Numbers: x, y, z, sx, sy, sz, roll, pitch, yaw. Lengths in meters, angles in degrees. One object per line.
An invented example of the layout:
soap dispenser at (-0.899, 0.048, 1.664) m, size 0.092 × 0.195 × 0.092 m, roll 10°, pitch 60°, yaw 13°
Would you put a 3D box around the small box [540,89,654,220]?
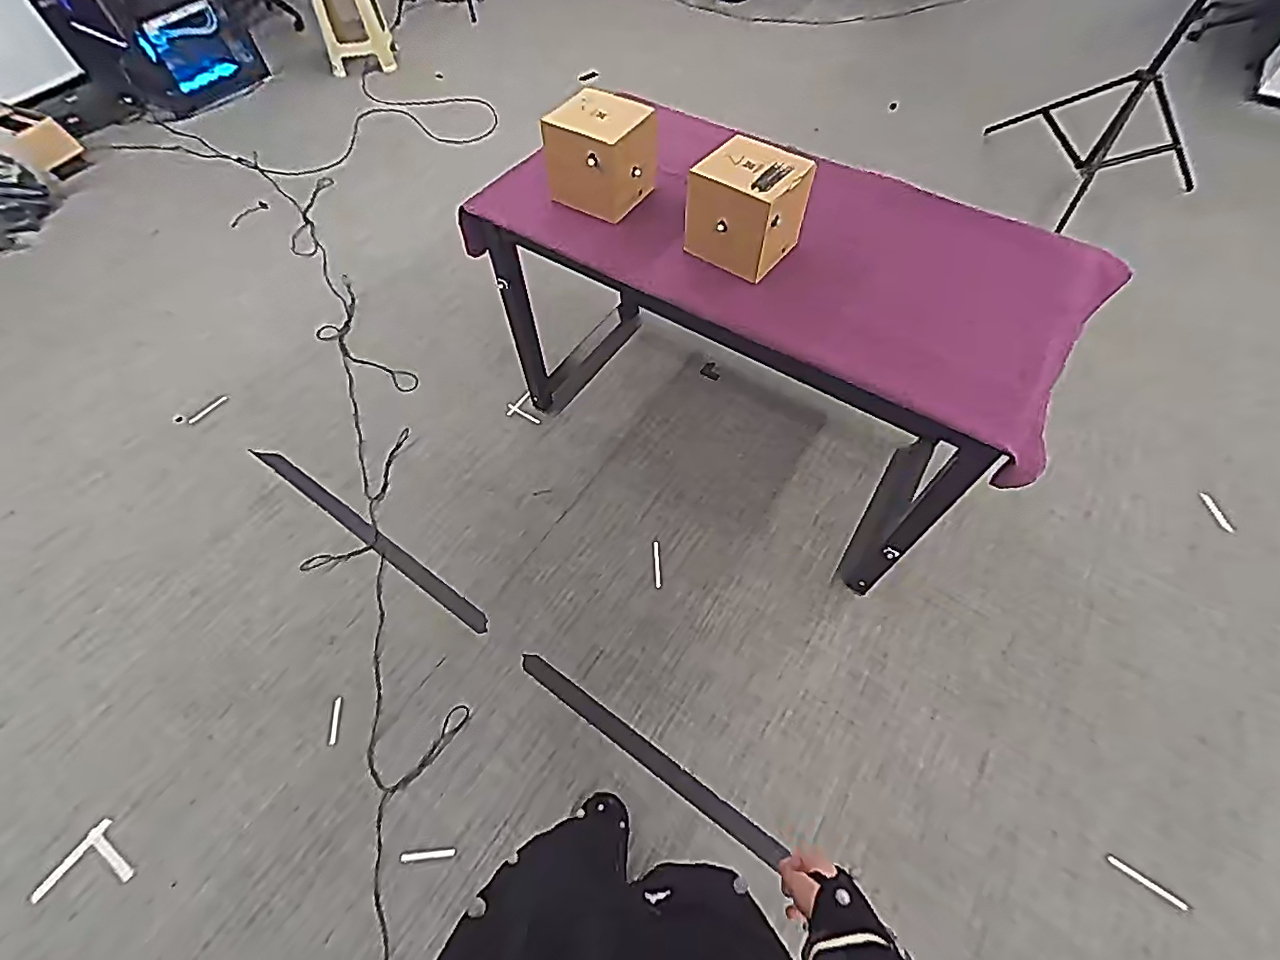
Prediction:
small box at (-0.084, -0.686, 1.150) m, size 0.179 × 0.176 × 0.168 m, roll 28°, pitch 62°, yaw 16°
